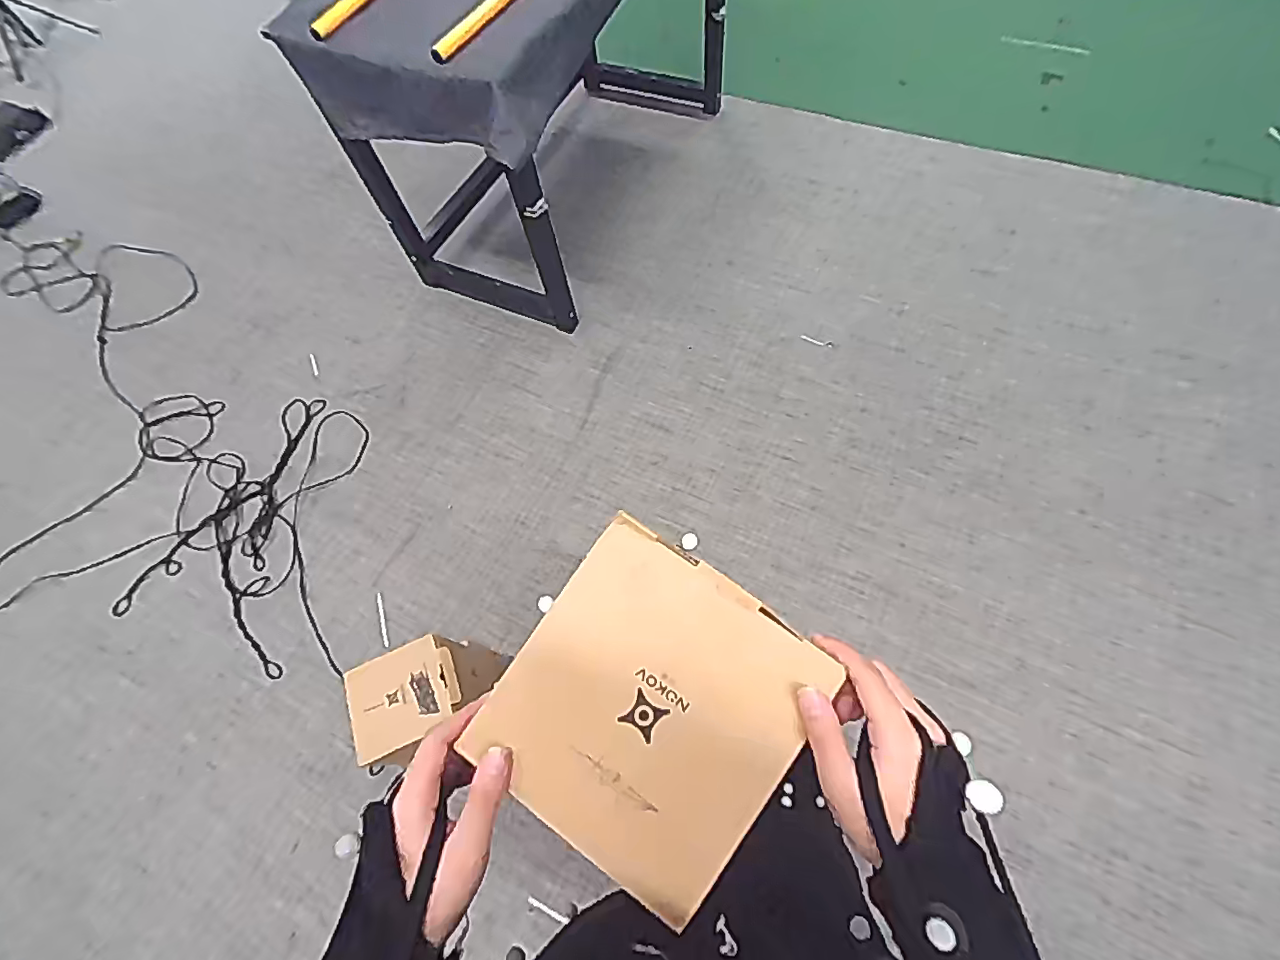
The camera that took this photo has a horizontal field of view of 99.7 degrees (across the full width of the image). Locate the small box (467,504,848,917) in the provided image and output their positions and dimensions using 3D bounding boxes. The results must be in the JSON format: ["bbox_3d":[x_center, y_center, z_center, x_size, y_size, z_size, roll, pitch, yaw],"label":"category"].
[{"bbox_3d":[0.015,0.140,0.396,0.168,0.176,0.179,33,86,10],"label":"small box"}]

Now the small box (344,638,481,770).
[{"bbox_3d":[-0.409,0.415,1.006,0.179,0.176,0.168,-24,64,-5],"label":"small box"}]

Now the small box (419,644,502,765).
[{"bbox_3d":[-0.386,0.478,1.157,0.168,0.176,0.179,-28,65,-7],"label":"small box"}]
